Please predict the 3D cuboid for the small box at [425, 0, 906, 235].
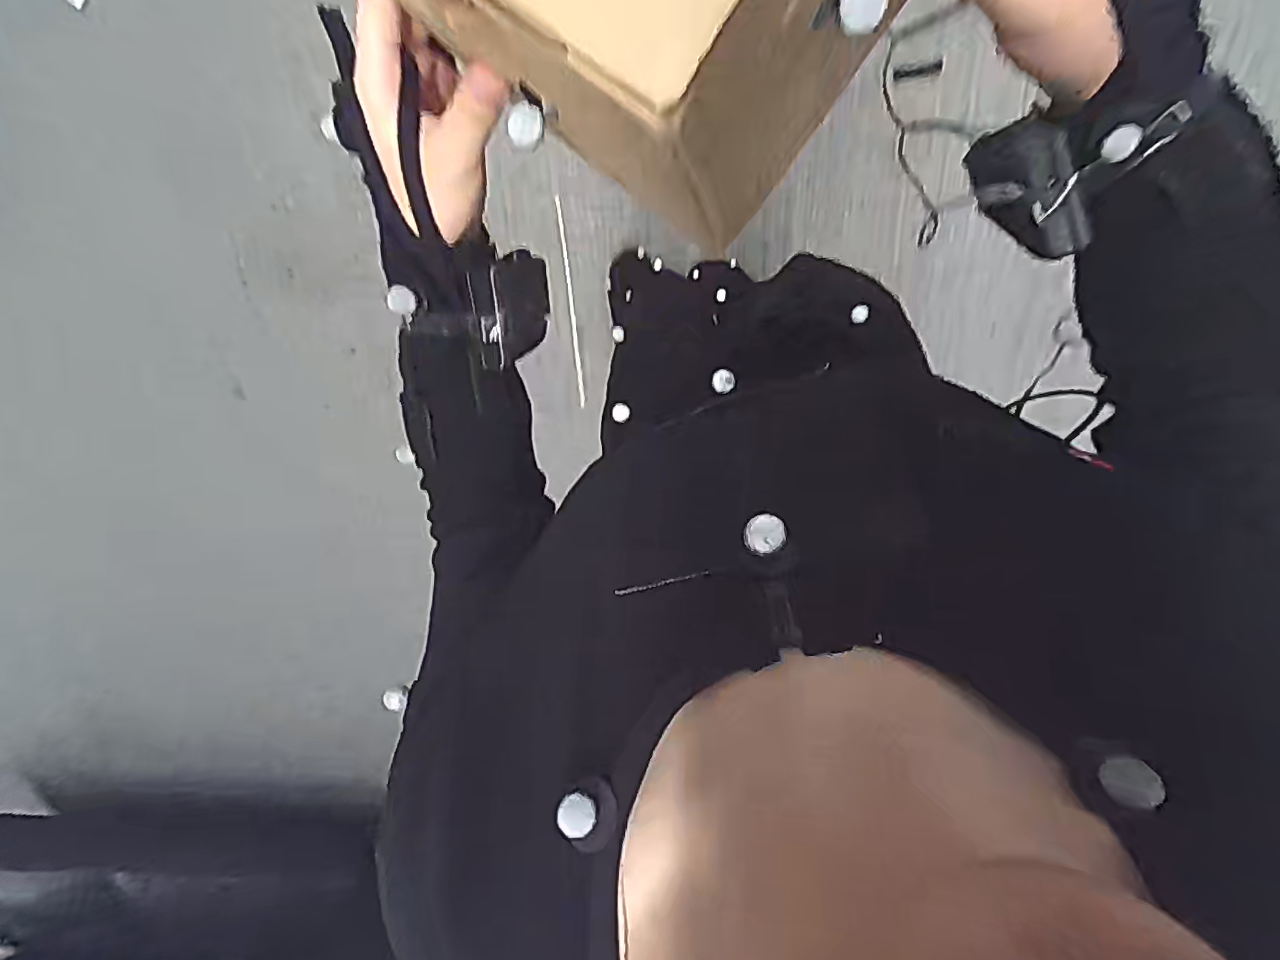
[{"bbox_3d":[0.011,-0.214,0.181,0.168,0.176,0.179,39,109,3],"label":"small box"}]
